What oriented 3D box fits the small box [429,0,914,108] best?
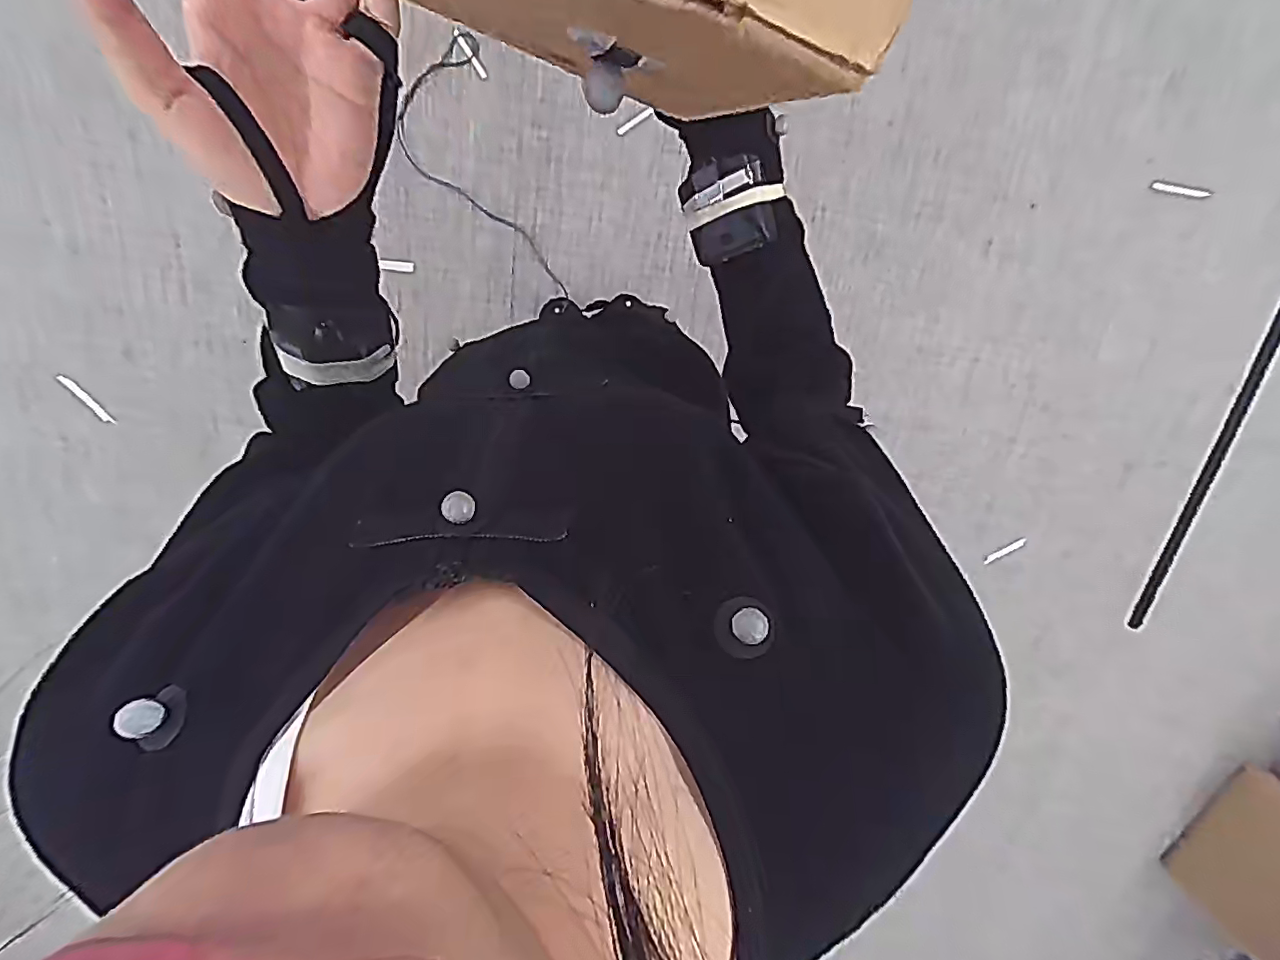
[{"bbox_3d":[-0.012,-0.209,0.117,0.168,0.176,0.179,12,118,-17],"label":"small box"}]

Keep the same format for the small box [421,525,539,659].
[{"bbox_3d":[-0.289,0.201,1.010,0.168,0.176,0.179,12,107,-6],"label":"small box"}]
